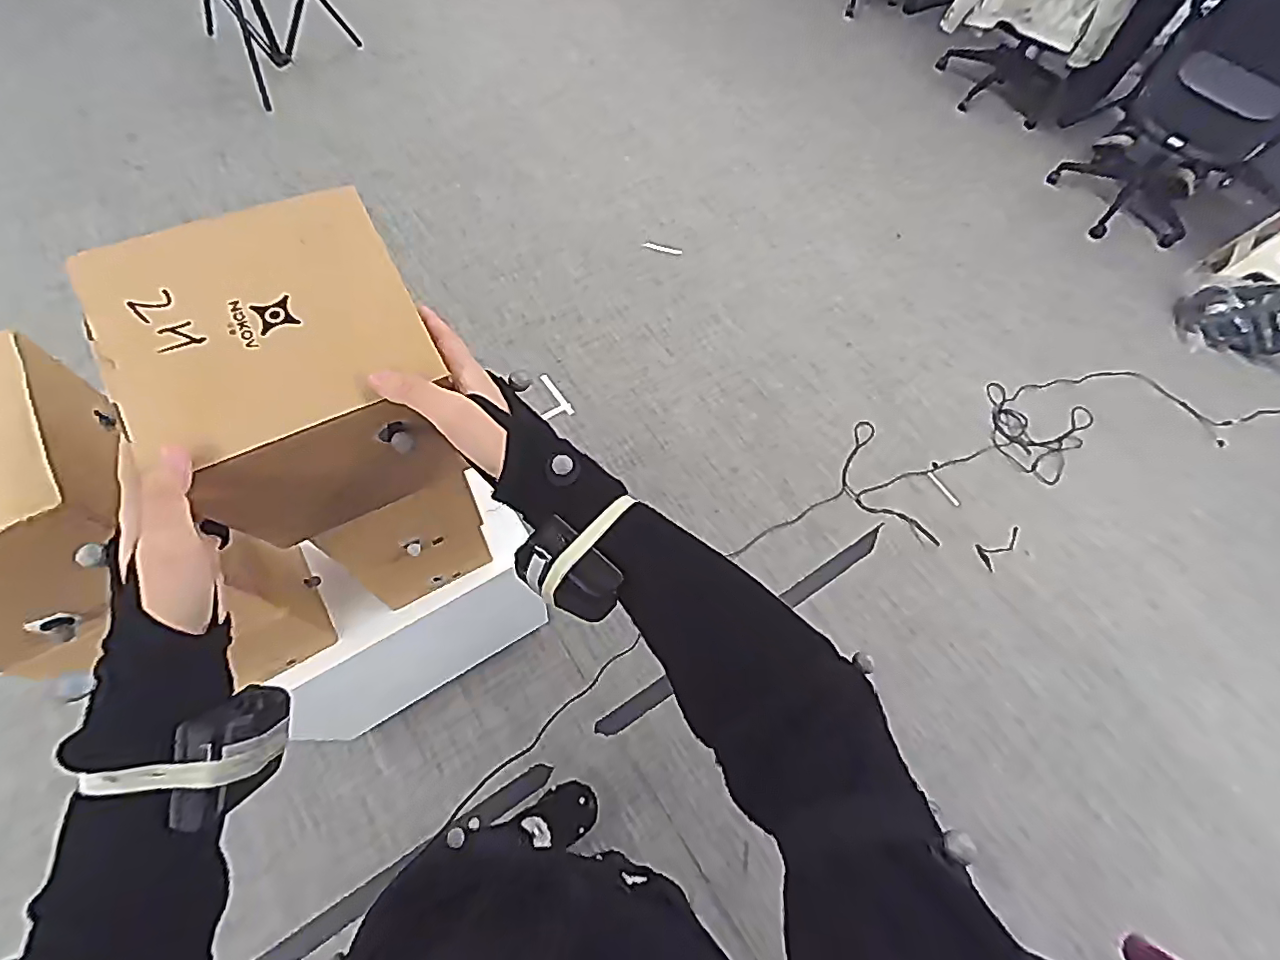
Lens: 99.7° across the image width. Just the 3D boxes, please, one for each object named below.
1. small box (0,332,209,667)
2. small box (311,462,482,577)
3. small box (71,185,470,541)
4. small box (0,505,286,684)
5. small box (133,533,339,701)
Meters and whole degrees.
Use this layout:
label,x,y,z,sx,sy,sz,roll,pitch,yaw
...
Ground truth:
label,x,y,z,sx,sy,sz,roll,pitch,yaw
small box,-0.500,0.024,0.430,0.168,0.176,0.179,-30,72,-19
small box,-0.309,-0.009,0.652,0.168,0.176,0.179,-27,71,-18
small box,-0.242,-0.074,0.408,0.179,0.176,0.168,-26,77,-17
small box,-0.519,0.098,0.574,0.168,0.176,0.179,-30,71,-20
small box,-0.539,0.169,0.718,0.168,0.176,0.179,-29,69,-19
